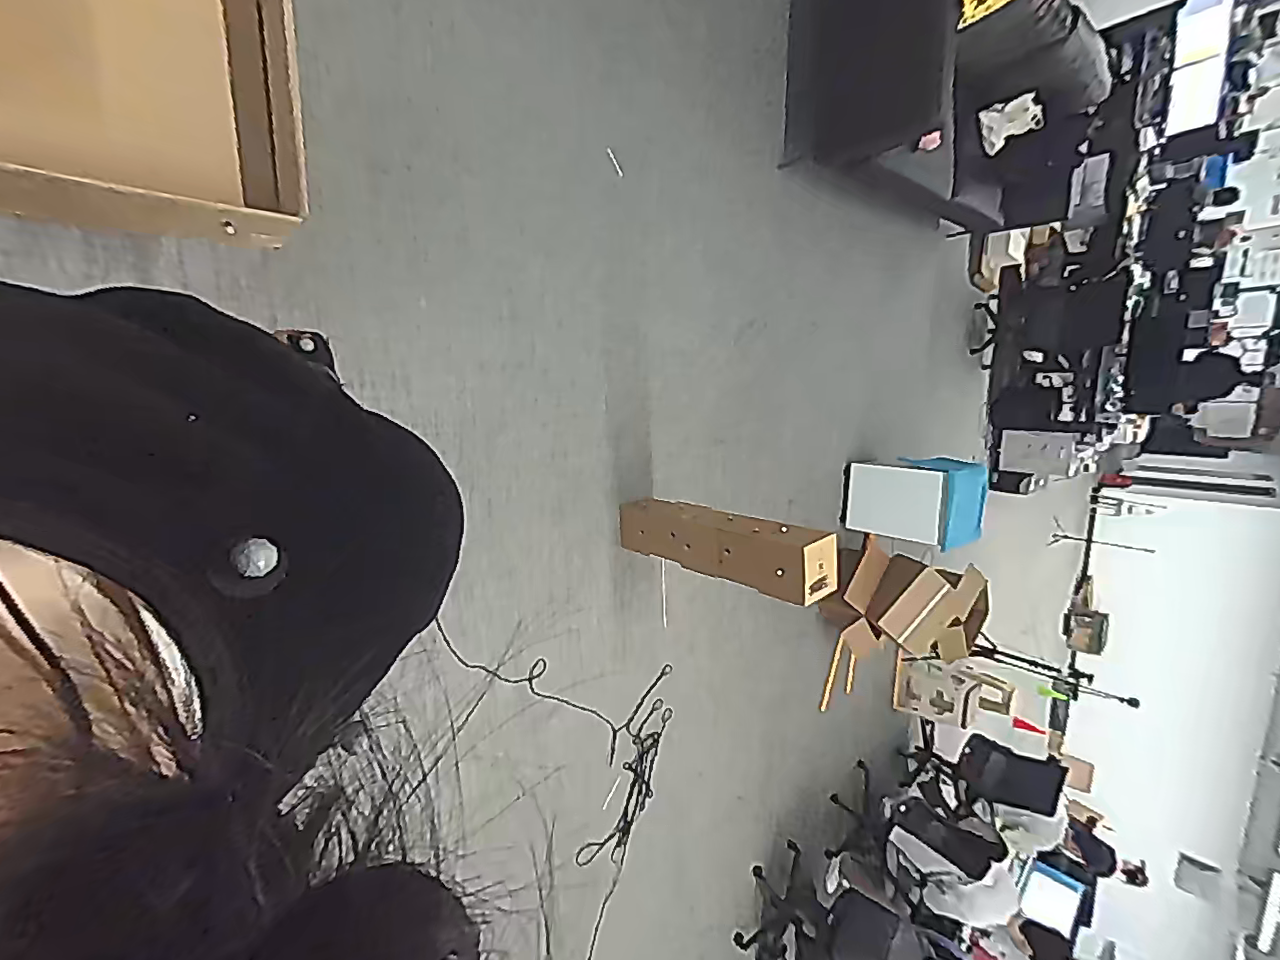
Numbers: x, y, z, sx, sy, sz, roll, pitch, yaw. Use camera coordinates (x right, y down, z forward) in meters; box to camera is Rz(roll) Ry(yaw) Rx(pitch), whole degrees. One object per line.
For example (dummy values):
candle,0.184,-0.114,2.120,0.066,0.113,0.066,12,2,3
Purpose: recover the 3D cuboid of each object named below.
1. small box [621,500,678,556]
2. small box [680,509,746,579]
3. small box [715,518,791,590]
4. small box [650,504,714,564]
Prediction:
small box,0.040,0.176,2.064,0.168,0.176,0.179,-11,104,-41
small box,0.247,0.210,1.813,0.168,0.176,0.179,-13,106,-40
small box,0.353,0.223,1.690,0.179,0.176,0.168,-12,104,-39
small box,0.149,0.185,1.942,0.168,0.176,0.179,-10,103,-40
